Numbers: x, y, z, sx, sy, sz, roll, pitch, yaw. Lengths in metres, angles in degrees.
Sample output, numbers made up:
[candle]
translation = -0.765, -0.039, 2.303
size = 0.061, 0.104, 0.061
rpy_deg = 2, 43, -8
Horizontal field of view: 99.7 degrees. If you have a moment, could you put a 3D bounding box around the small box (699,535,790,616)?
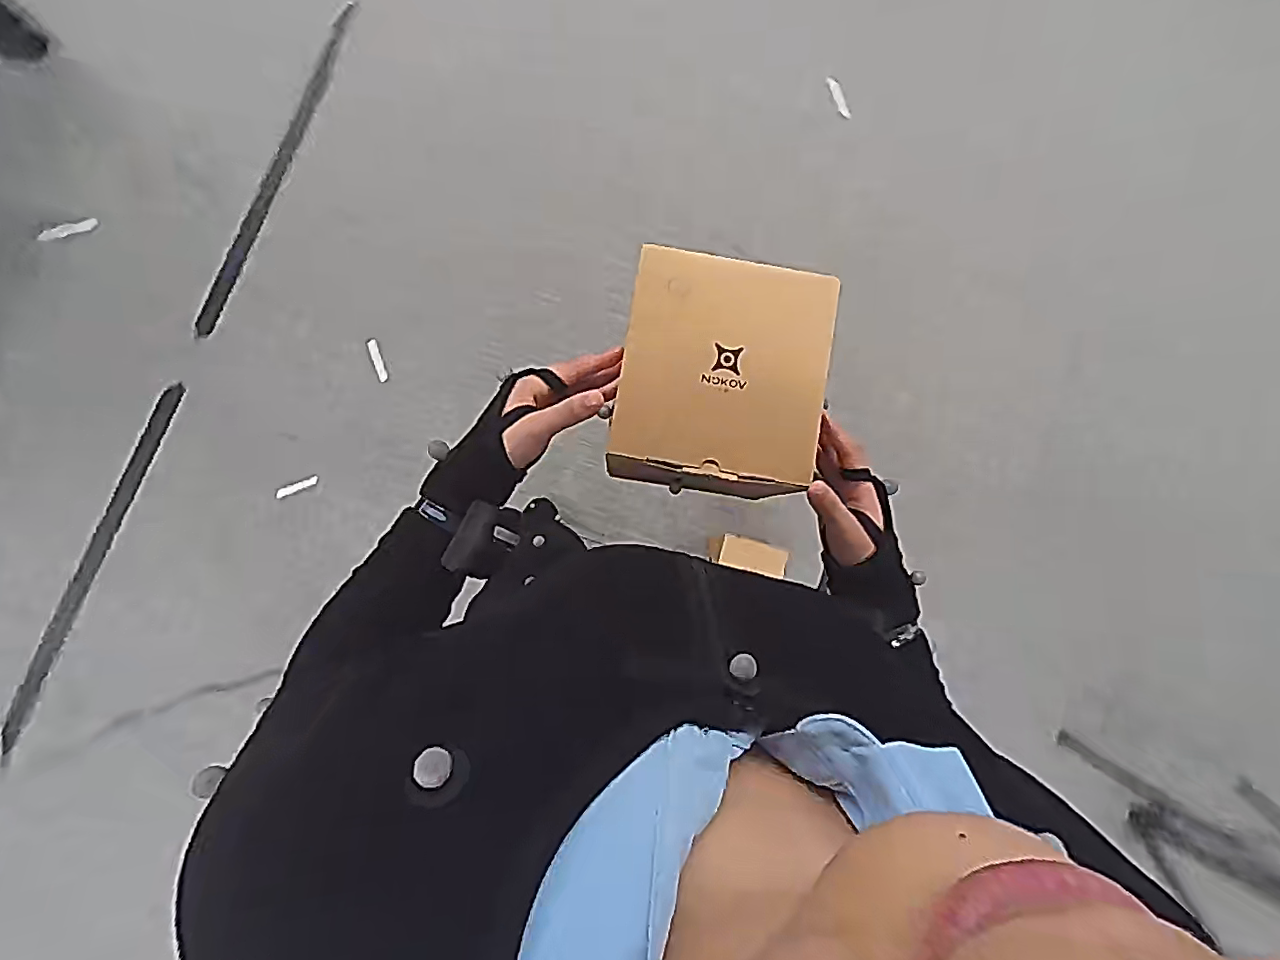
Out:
[small box]
translation = 0.270, 0.248, 1.441
size = 0.179, 0.176, 0.168
rpy_deg = 17, 85, -4
